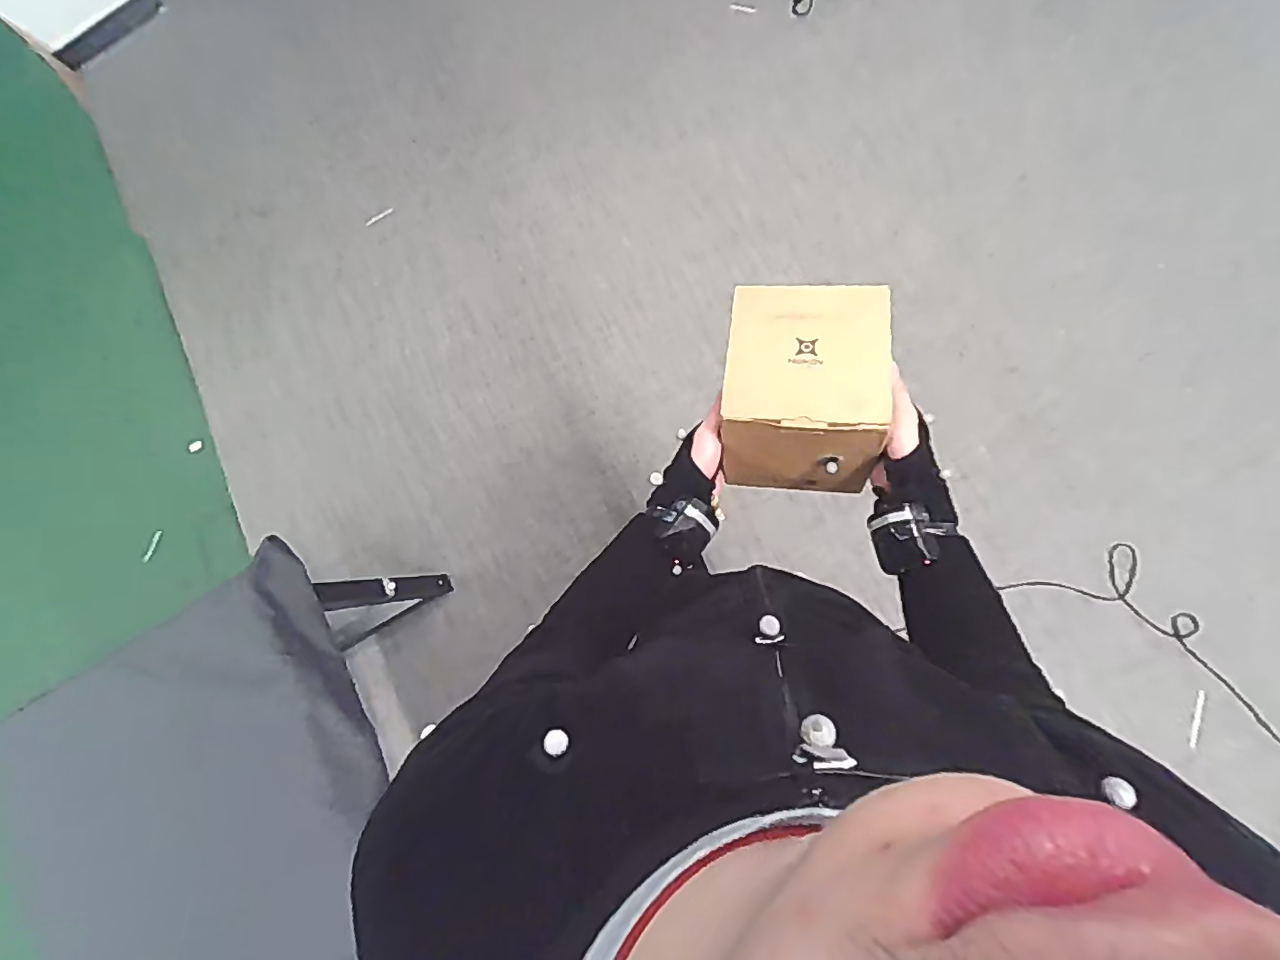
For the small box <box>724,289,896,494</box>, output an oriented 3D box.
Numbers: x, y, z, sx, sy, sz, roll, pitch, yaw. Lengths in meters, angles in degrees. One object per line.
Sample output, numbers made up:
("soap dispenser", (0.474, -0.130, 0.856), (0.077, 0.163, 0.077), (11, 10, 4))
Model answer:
("small box", (0.191, -0.097, 0.632), (0.168, 0.176, 0.179), (5, 65, 12))
